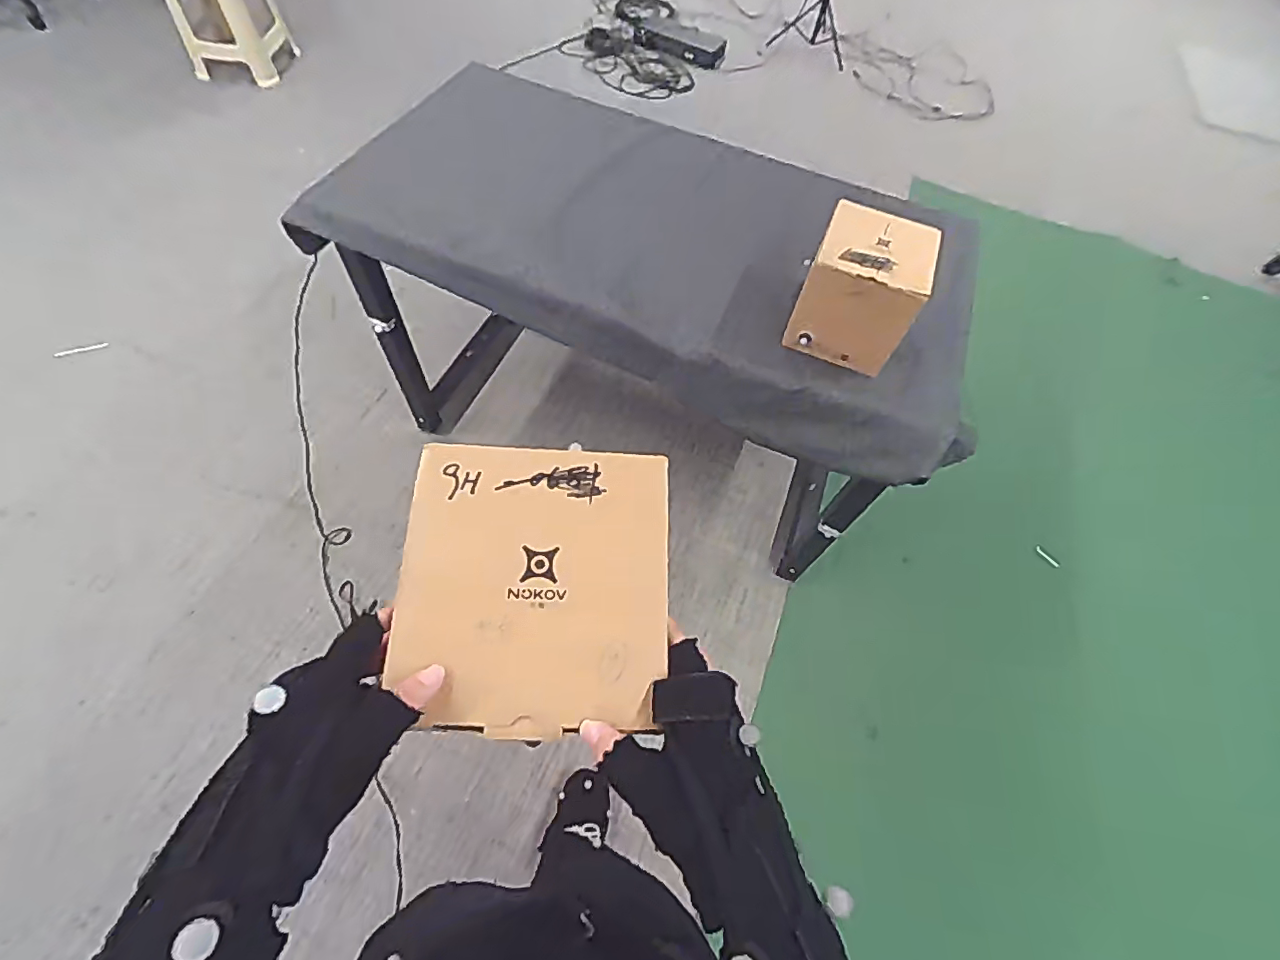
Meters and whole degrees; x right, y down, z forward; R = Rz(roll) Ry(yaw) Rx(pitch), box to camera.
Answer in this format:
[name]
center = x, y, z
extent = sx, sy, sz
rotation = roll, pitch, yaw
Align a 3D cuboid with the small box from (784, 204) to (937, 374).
[small box]
center = 0.348, -0.302, 0.876
extent = 0.168, 0.176, 0.179
rotation = 22, 59, 7
